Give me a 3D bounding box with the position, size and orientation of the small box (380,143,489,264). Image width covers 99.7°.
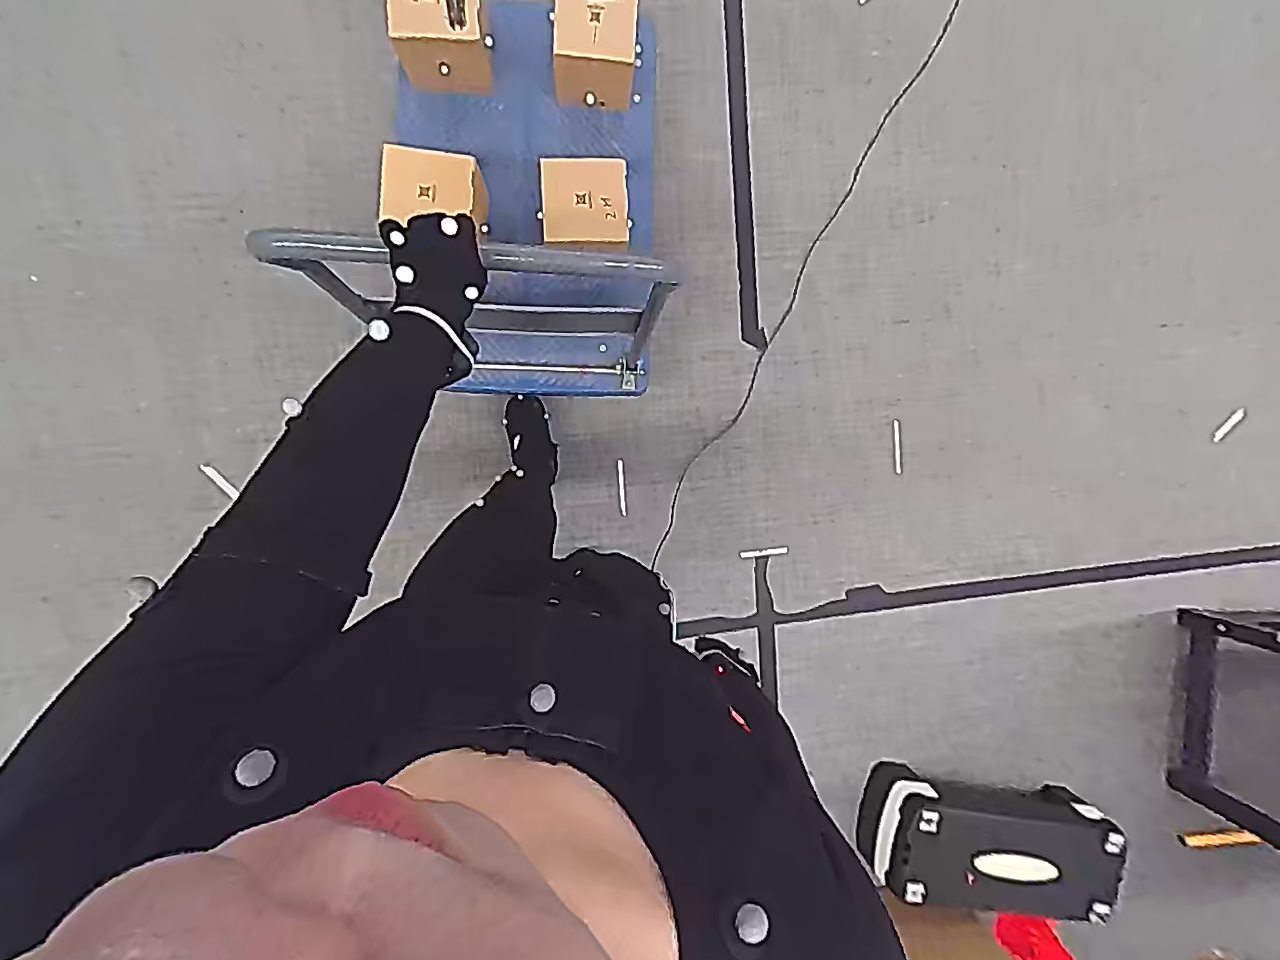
[{"bbox_3d":[-0.425,-0.571,1.140,0.179,0.176,0.168,4,92,-8],"label":"small box"}]

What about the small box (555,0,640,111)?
[{"bbox_3d":[-0.093,-0.937,1.154,0.168,0.176,0.179,3,94,-6],"label":"small box"}]

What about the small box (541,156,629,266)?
[{"bbox_3d":[-0.117,-0.572,1.171,0.179,0.176,0.168,-2,93,-5],"label":"small box"}]
